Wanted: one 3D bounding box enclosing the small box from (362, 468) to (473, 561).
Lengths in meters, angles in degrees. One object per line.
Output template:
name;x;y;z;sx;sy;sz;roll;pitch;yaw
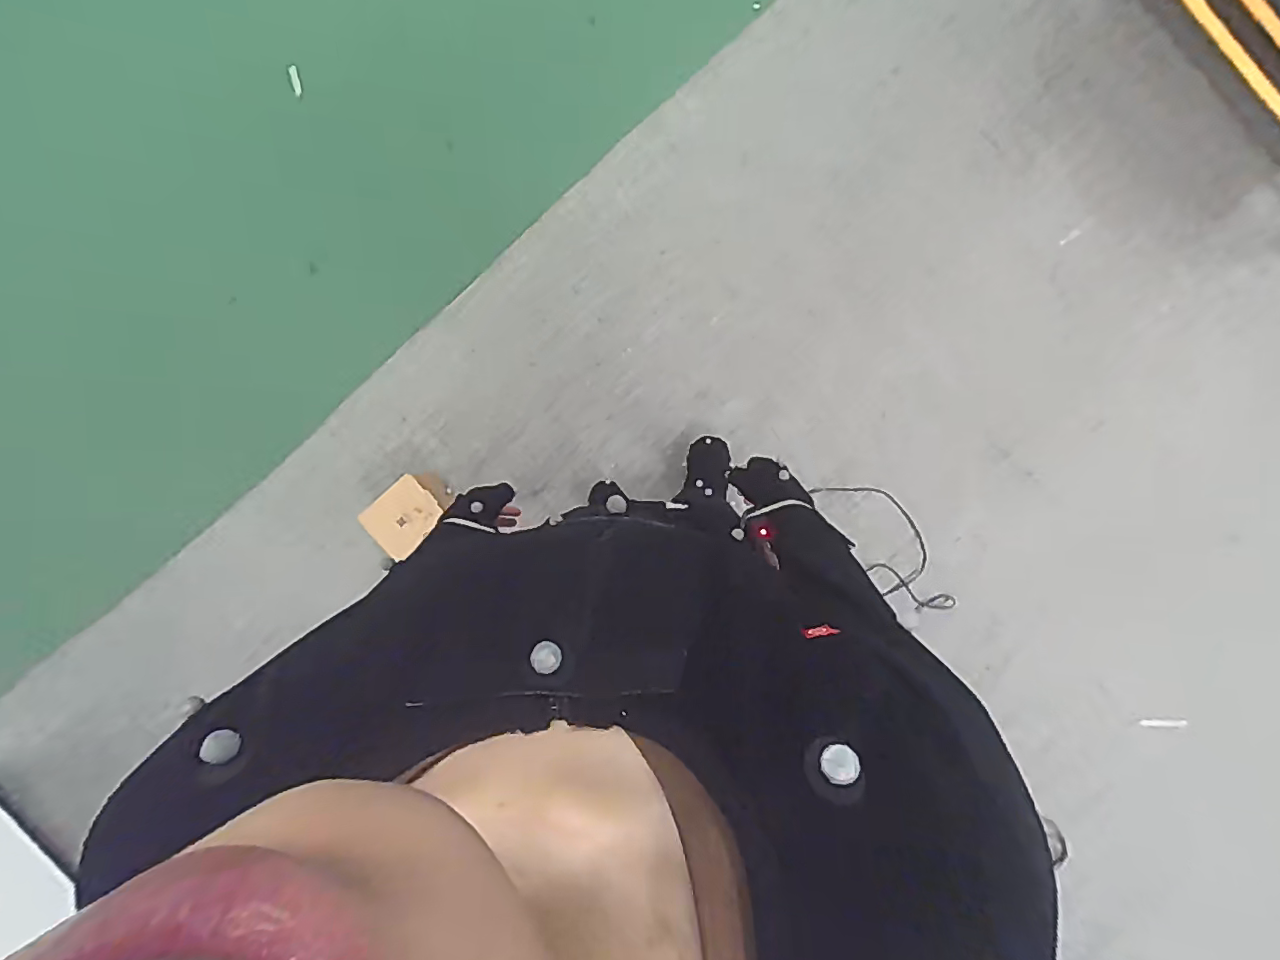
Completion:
small box;-0.569;0.084;1.408;0.179;0.176;0.168;-41;93;1
